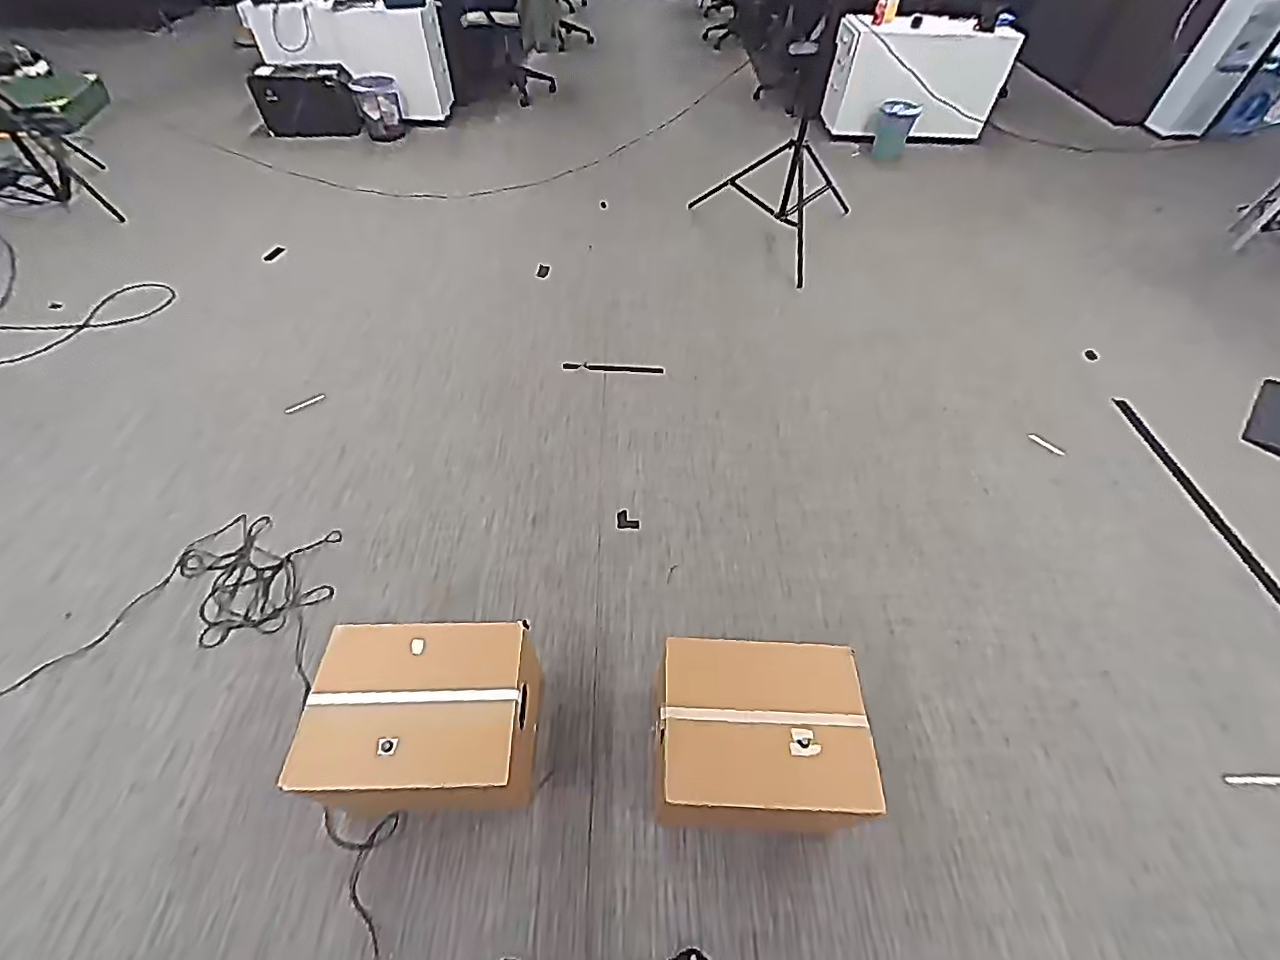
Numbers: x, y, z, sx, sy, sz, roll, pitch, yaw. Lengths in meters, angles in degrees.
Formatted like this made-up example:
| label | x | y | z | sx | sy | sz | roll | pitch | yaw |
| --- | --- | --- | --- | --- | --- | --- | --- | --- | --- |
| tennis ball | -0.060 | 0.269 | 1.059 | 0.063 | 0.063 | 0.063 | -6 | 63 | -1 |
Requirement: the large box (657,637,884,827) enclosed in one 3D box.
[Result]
| label | x | y | z | sx | sy | sz | roll | pitch | yaw |
| --- | --- | --- | --- | --- | --- | --- | --- | --- | --- |
| large box | 0.247 | 0.563 | 1.193 | 0.408 | 0.320 | 0.320 | 3 | 52 | -1 |
